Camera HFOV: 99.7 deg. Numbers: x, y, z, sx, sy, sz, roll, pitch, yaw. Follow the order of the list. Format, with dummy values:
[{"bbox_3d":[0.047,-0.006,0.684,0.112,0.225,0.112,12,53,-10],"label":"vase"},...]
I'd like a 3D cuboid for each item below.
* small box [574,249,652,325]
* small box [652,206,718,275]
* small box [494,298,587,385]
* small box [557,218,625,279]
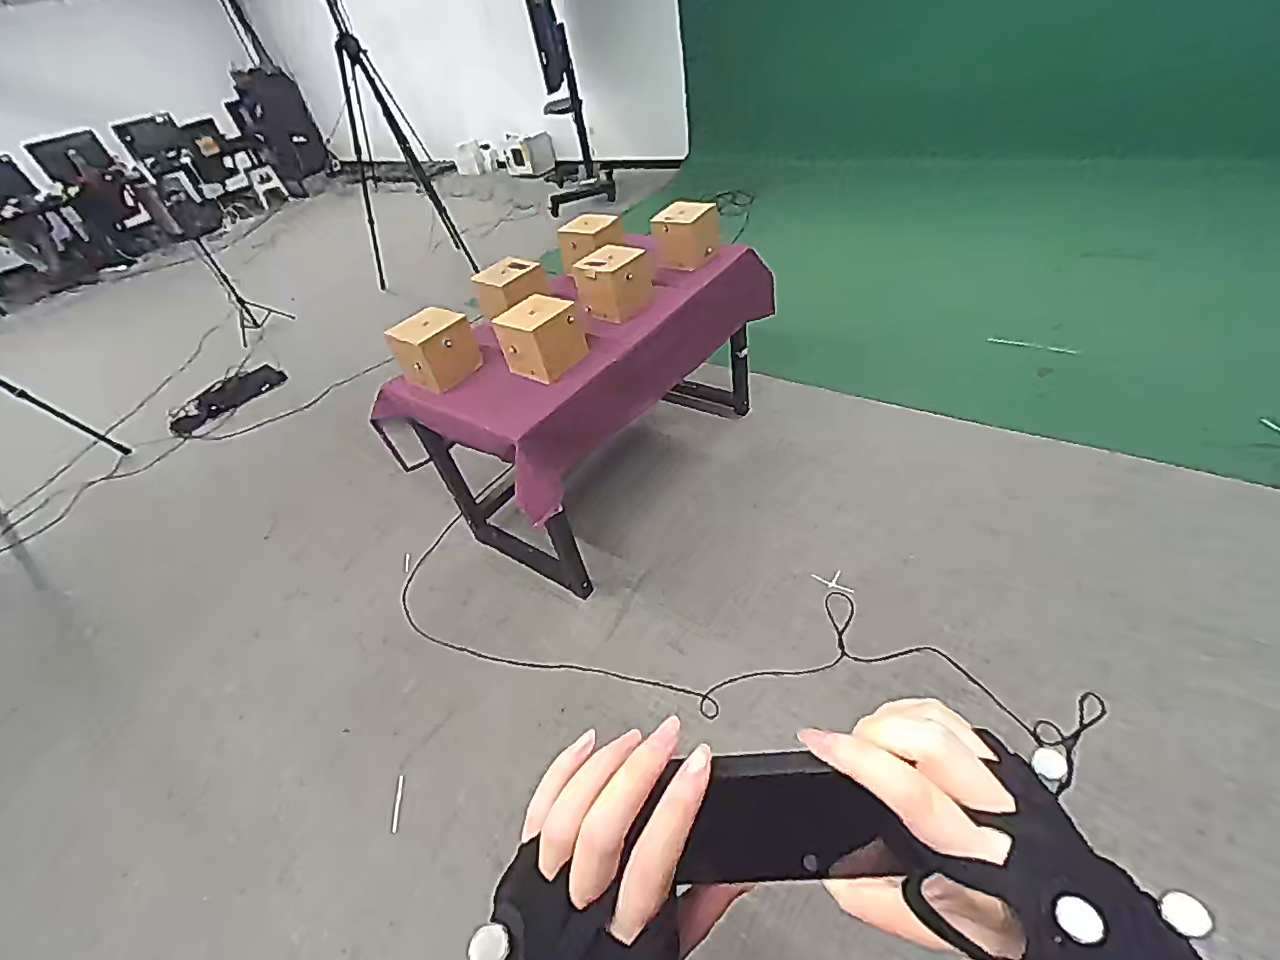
[{"bbox_3d":[-0.079,-0.614,1.721,0.168,0.176,0.179,24,53,33],"label":"small box"},{"bbox_3d":[0.165,-0.850,1.914,0.168,0.176,0.179,20,51,31],"label":"small box"},{"bbox_3d":[-0.273,-0.390,1.530,0.168,0.176,0.179,22,52,32],"label":"small box"},{"bbox_3d":[-0.172,-0.845,1.989,0.179,0.176,0.168,19,52,30],"label":"small box"}]
